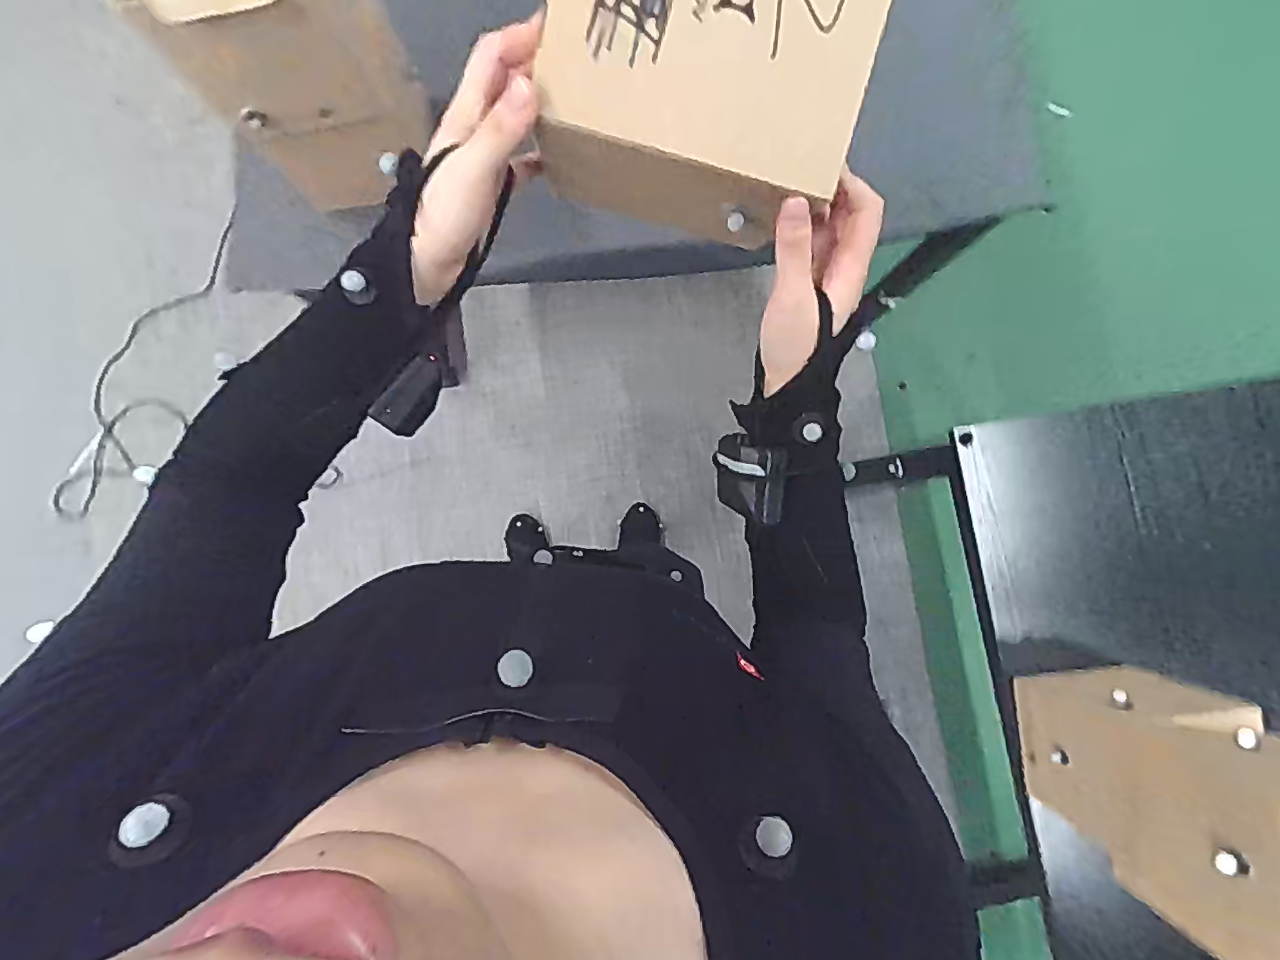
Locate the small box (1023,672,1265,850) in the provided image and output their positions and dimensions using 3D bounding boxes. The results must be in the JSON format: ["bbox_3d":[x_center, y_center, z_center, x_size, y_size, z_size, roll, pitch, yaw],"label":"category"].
[{"bbox_3d":[0.626,0.356,0.690,0.179,0.176,0.168,-5,88,-1],"label":"small box"}]

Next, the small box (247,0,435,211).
[{"bbox_3d":[-0.389,-0.491,0.724,0.179,0.176,0.168,-9,85,-1],"label":"small box"}]

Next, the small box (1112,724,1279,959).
[{"bbox_3d":[0.609,0.363,0.526,0.168,0.176,0.179,3,87,0],"label":"small box"}]
